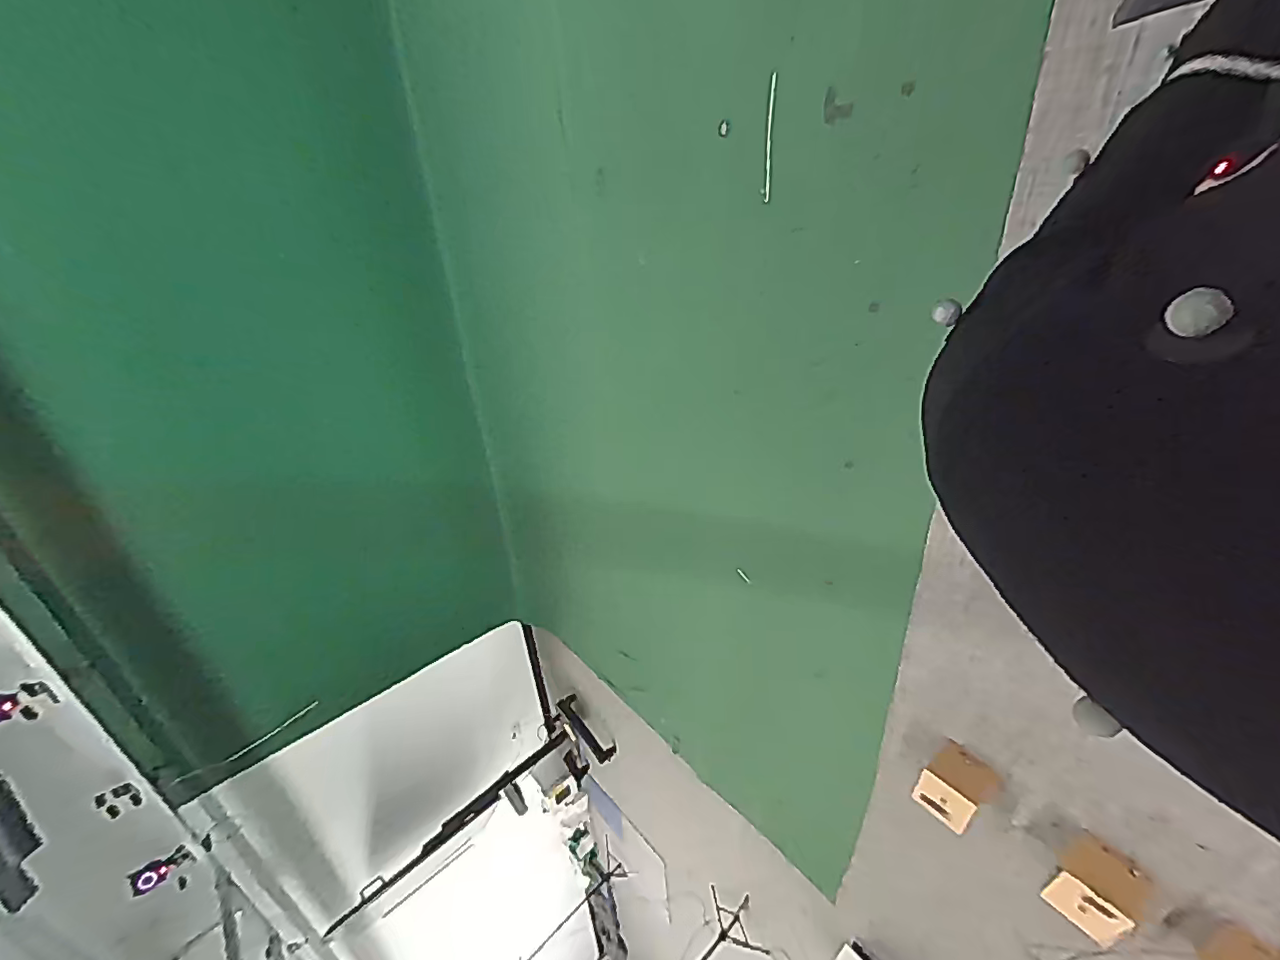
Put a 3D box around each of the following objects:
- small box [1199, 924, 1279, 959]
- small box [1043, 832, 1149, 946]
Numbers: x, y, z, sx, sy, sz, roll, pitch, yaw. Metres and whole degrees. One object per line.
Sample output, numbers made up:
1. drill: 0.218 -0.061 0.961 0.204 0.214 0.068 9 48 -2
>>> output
1. small box: 1.508 1.260 1.327 0.168 0.176 0.179 27 131 42
2. small box: 1.301 1.158 1.541 0.168 0.176 0.179 34 136 39
